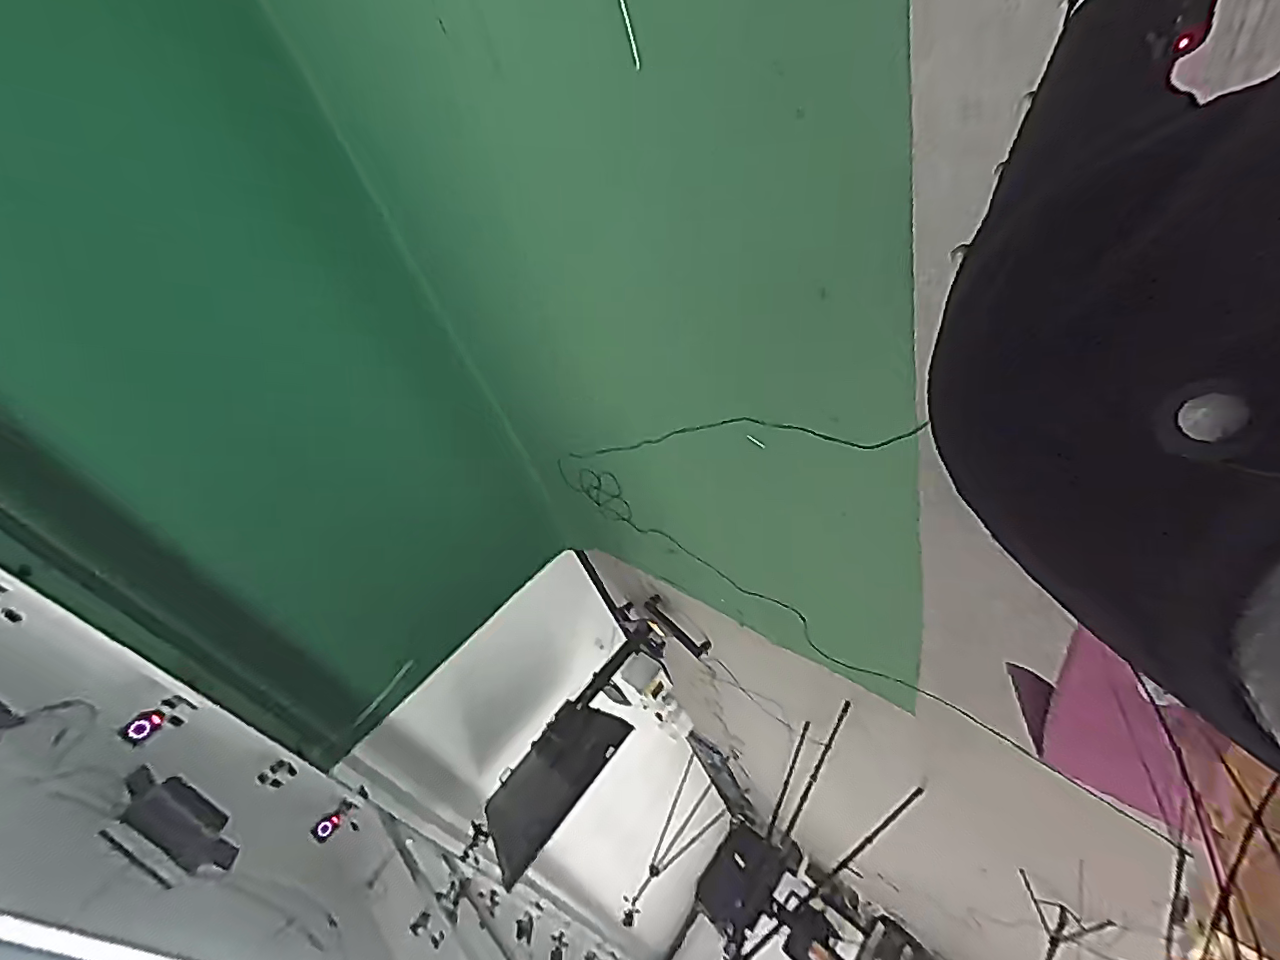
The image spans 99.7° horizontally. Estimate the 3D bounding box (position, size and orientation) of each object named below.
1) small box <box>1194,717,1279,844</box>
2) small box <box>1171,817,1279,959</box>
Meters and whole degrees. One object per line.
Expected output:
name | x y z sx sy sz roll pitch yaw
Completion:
small box | 0.967 0.488 0.792 0.179 0.176 0.168 17 142 44
small box | 0.860 0.588 0.717 0.179 0.176 0.168 19 143 43
